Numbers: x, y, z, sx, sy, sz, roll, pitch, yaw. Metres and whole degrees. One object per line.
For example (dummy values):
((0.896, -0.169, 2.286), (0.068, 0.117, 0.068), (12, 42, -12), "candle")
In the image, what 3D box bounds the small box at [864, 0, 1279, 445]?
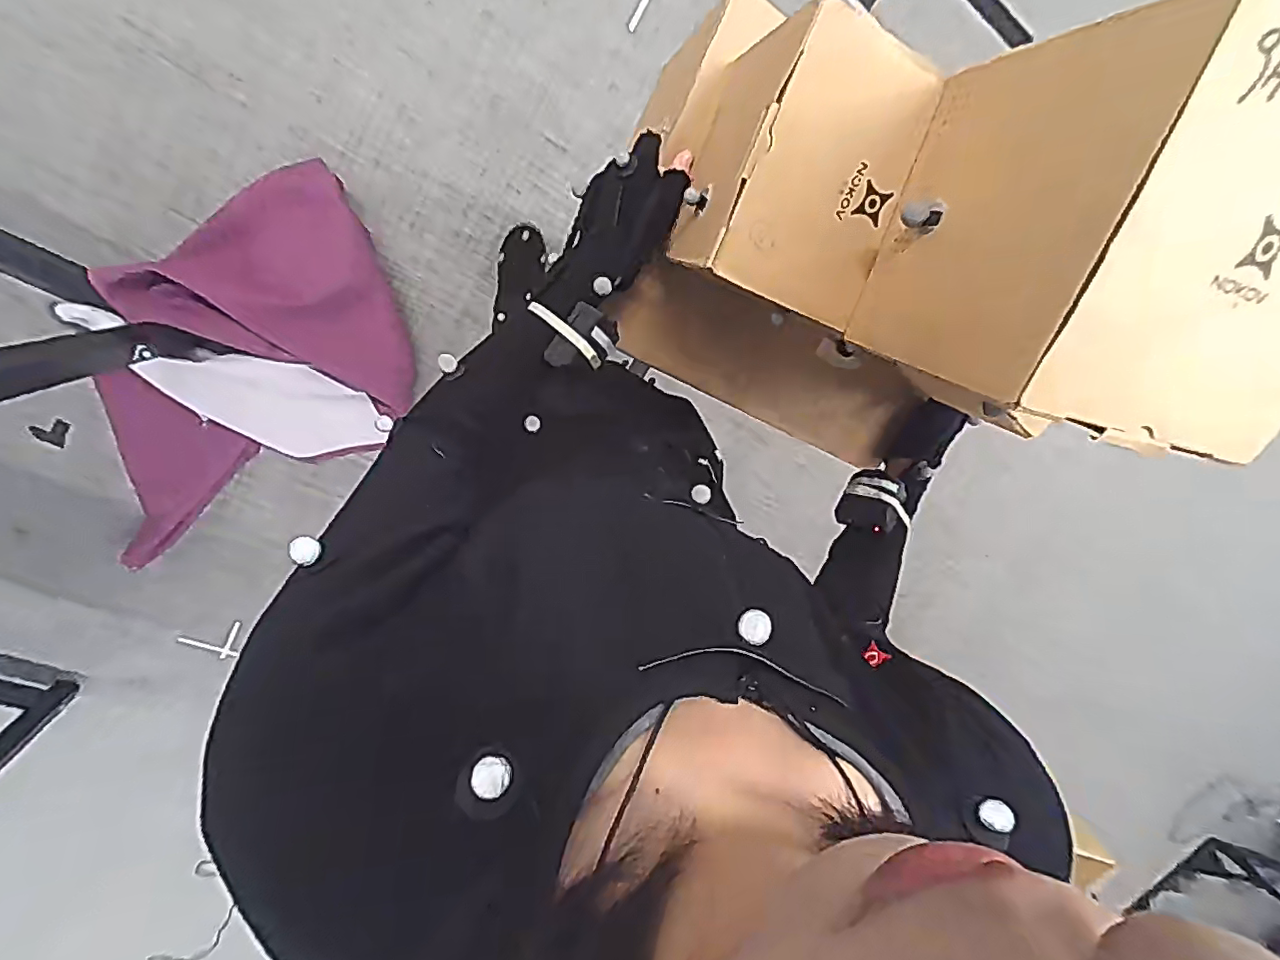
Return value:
((0.265, -0.144, 0.319), (0.168, 0.176, 0.179), (10, 113, -16), "small box")

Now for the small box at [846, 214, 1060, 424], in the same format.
((0.319, -0.185, 0.493), (0.168, 0.176, 0.179), (35, 103, -23), "small box")

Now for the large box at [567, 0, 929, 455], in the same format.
((0.155, -0.283, 0.688), (0.408, 0.320, 0.320), (21, 110, -20), "large box")
